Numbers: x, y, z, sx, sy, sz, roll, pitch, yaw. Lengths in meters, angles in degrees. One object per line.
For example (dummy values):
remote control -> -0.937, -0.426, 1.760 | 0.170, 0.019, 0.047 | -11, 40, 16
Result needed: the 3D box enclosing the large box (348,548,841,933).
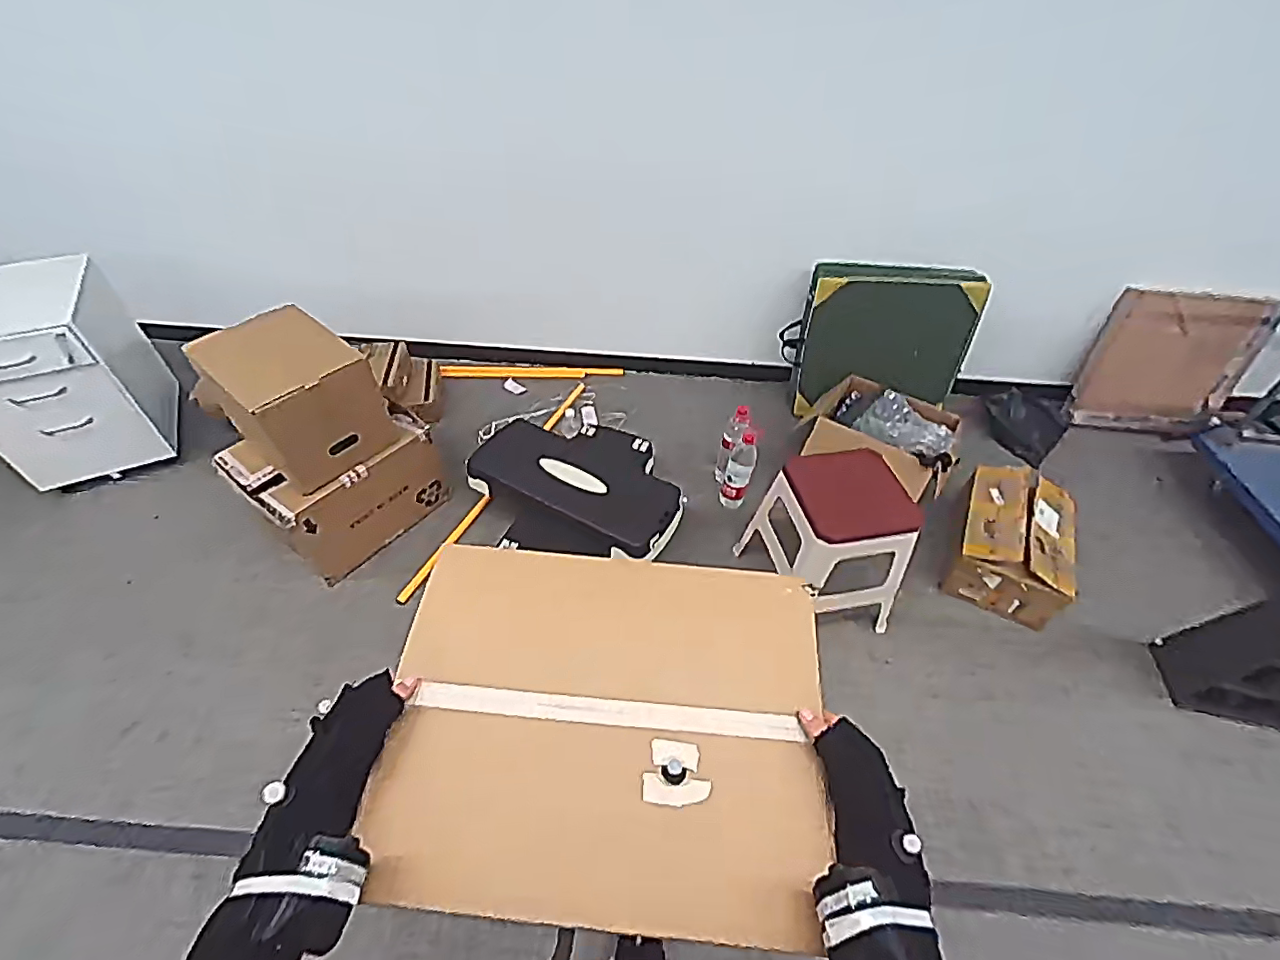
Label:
large box -> -0.033, 0.301, 0.634 | 0.408, 0.320, 0.320 | 5, 55, 1
